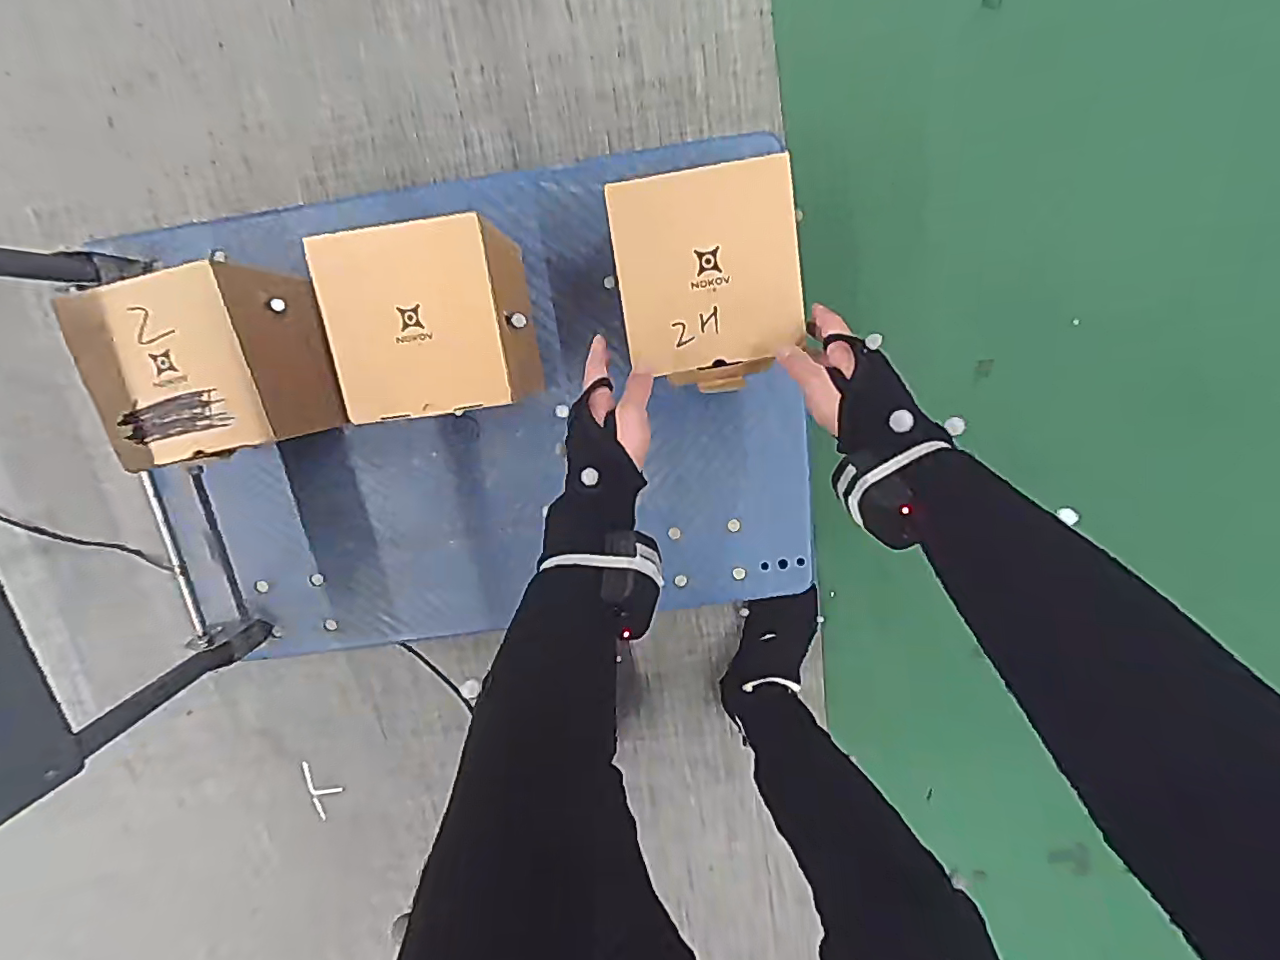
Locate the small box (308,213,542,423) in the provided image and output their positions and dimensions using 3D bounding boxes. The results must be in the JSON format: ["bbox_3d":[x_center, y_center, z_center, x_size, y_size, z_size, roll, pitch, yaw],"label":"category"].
[{"bbox_3d":[-0.212,-0.167,0.585,0.168,0.176,0.179,-7,105,2],"label":"small box"}]

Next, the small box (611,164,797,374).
[{"bbox_3d":[0.061,-0.205,0.565,0.168,0.176,0.179,-1,105,4],"label":"small box"}]
